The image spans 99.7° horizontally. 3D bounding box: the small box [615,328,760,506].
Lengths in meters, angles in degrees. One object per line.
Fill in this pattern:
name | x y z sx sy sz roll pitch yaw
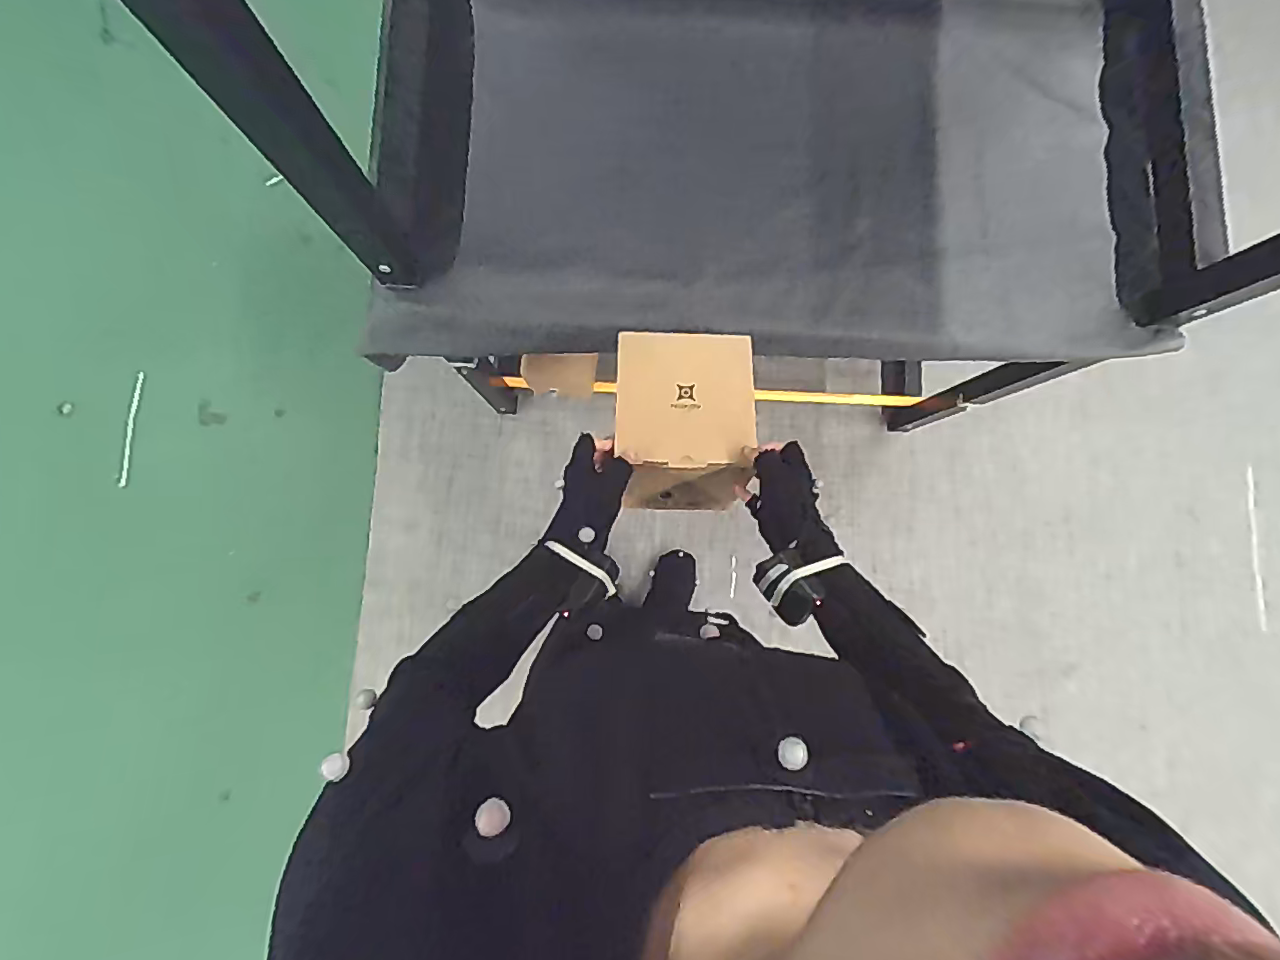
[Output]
small box | 0.052 -0.076 0.711 0.168 0.176 0.179 1 69 -2
